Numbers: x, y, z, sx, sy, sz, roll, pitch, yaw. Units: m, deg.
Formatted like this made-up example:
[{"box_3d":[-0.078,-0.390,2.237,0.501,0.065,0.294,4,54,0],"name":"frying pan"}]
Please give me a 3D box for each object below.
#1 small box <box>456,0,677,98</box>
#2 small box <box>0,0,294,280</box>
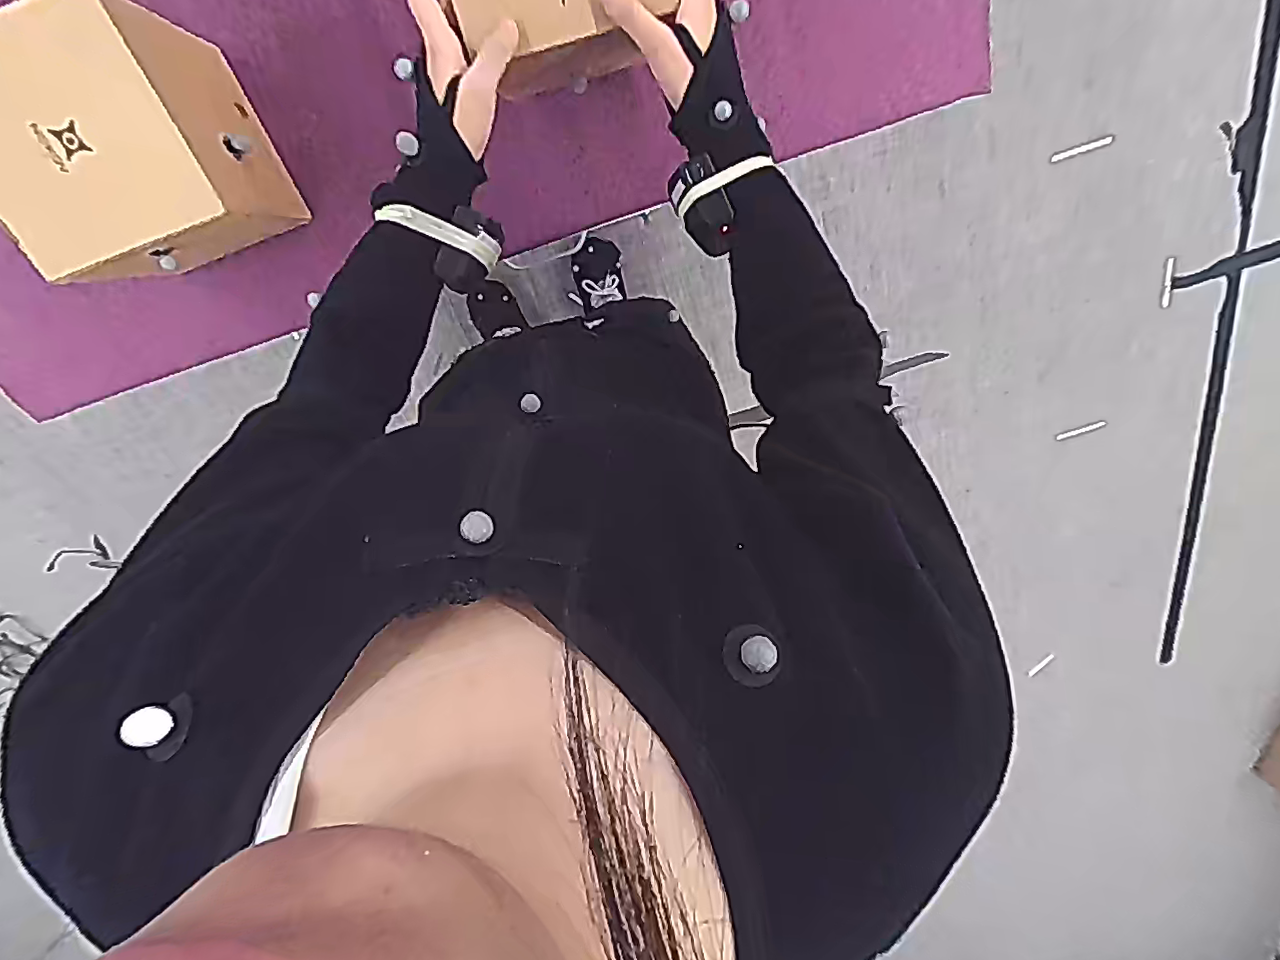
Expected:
[{"box_3d":[-0.072,-0.450,0.450,0.168,0.176,0.179,-12,119,4],"name":"small box"},{"box_3d":[-0.464,-0.303,0.501,0.179,0.176,0.168,-19,115,3],"name":"small box"}]
